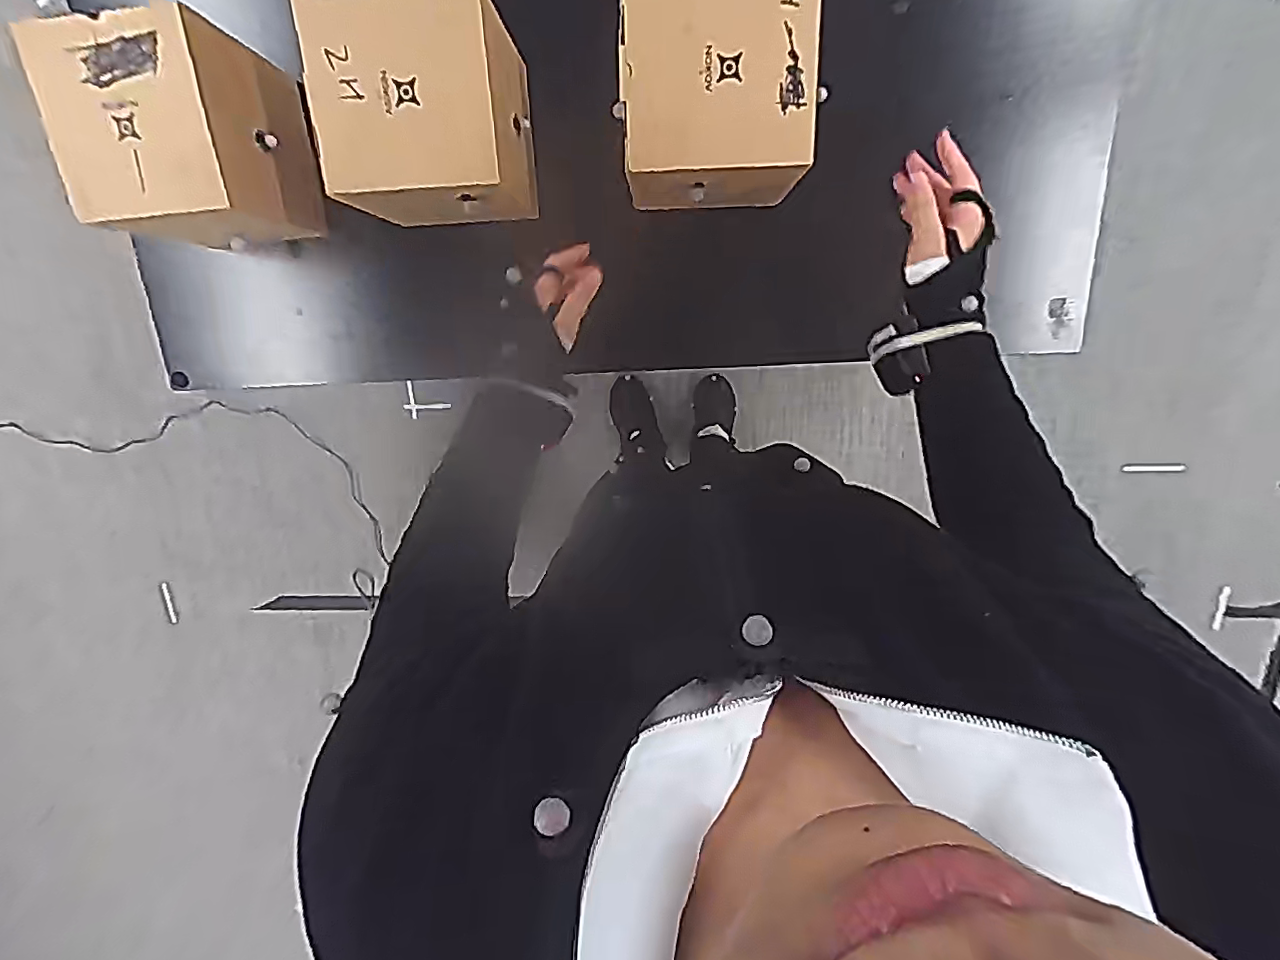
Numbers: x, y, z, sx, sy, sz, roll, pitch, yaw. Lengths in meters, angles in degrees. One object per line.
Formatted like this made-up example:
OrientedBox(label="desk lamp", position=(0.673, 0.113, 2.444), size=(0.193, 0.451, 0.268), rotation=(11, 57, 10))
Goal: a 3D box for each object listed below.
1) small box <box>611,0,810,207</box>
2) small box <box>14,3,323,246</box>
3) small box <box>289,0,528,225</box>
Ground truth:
OrientedBox(label="small box", position=(0.068, -0.393, 0.566), size=(0.179, 0.176, 0.168), rotation=(0, 106, 3))
OrientedBox(label="small box", position=(-0.491, -0.370, 0.597), size=(0.168, 0.176, 0.179), rotation=(-4, 106, 4))
OrientedBox(label="small box", position=(-0.224, -0.381, 0.581), size=(0.179, 0.176, 0.168), rotation=(-3, 105, 3))
